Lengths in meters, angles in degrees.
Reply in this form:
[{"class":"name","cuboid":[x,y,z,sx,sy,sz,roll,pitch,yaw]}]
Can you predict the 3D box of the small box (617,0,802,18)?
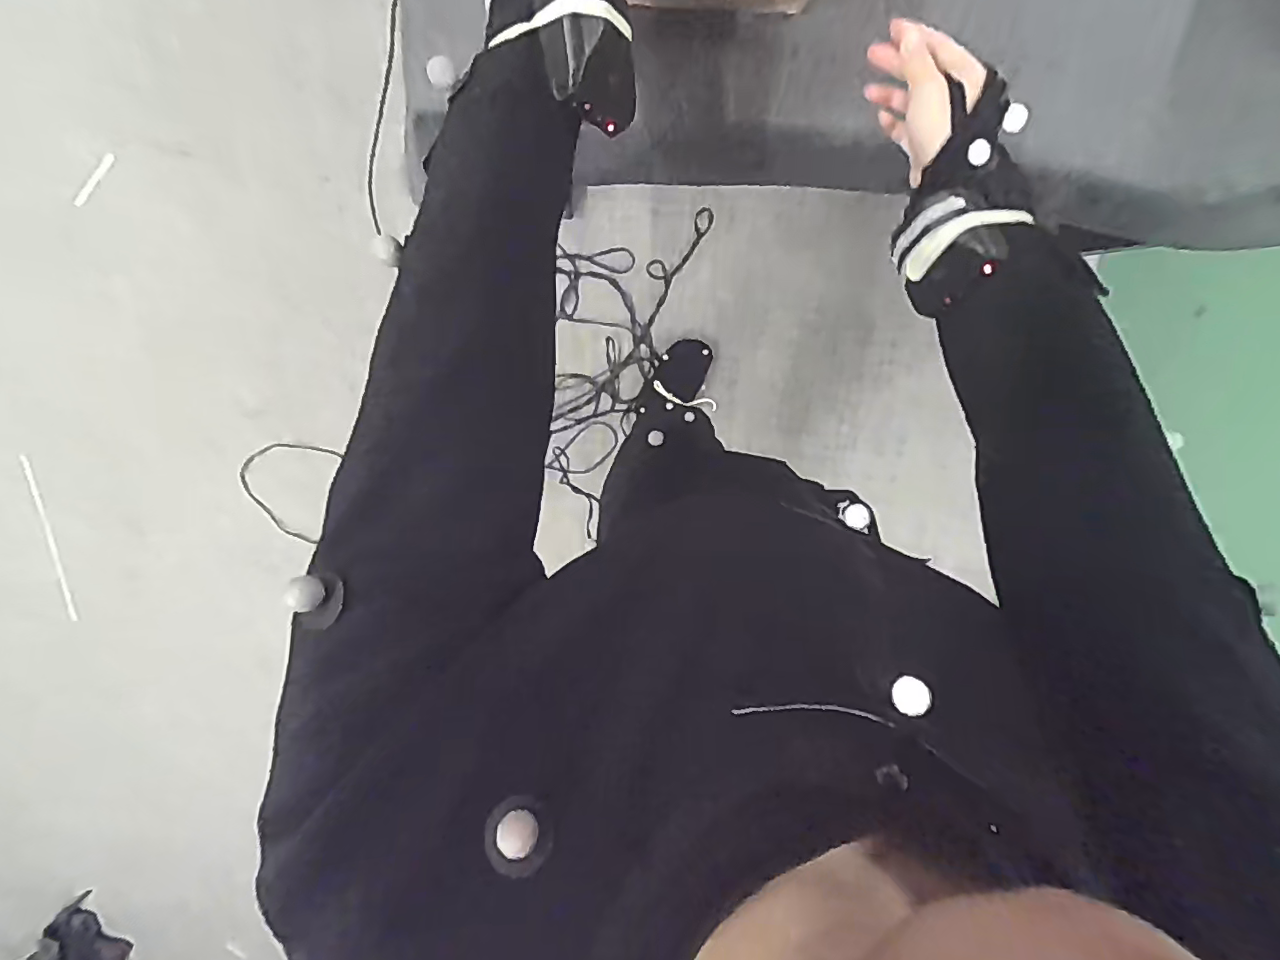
[{"class":"small box","cuboid":[0.062,-0.465,0.379,0.179,0.176,0.168,2,109,-3]}]
